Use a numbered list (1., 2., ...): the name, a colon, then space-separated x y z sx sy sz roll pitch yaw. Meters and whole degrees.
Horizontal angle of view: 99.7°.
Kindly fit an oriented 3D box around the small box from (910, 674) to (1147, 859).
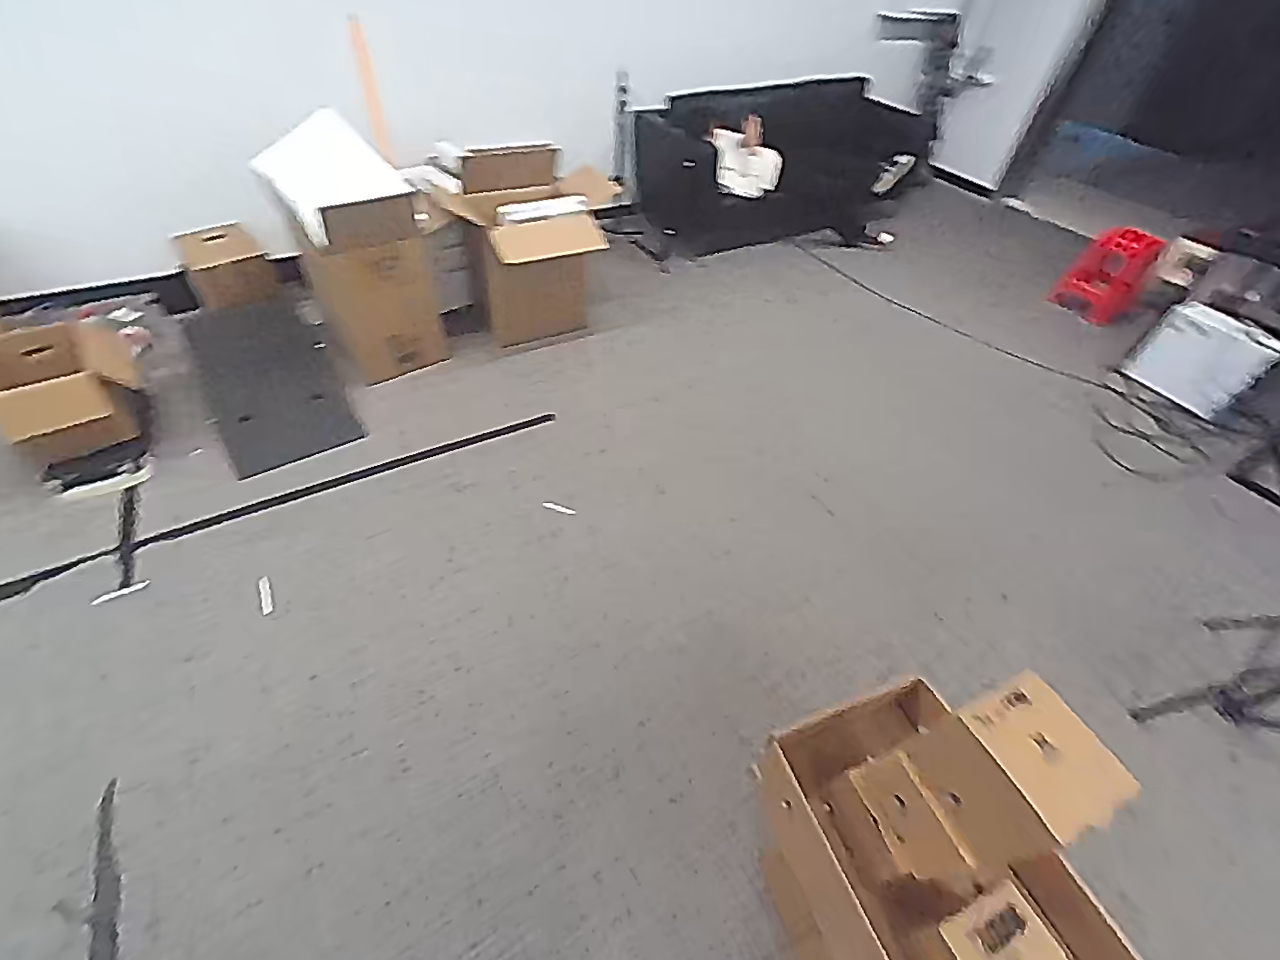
1. small box: 0.538 0.416 0.777 0.168 0.176 0.179 -13 52 -20

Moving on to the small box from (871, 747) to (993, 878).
1. small box: 0.513 0.527 0.895 0.179 0.176 0.168 -13 51 -19
